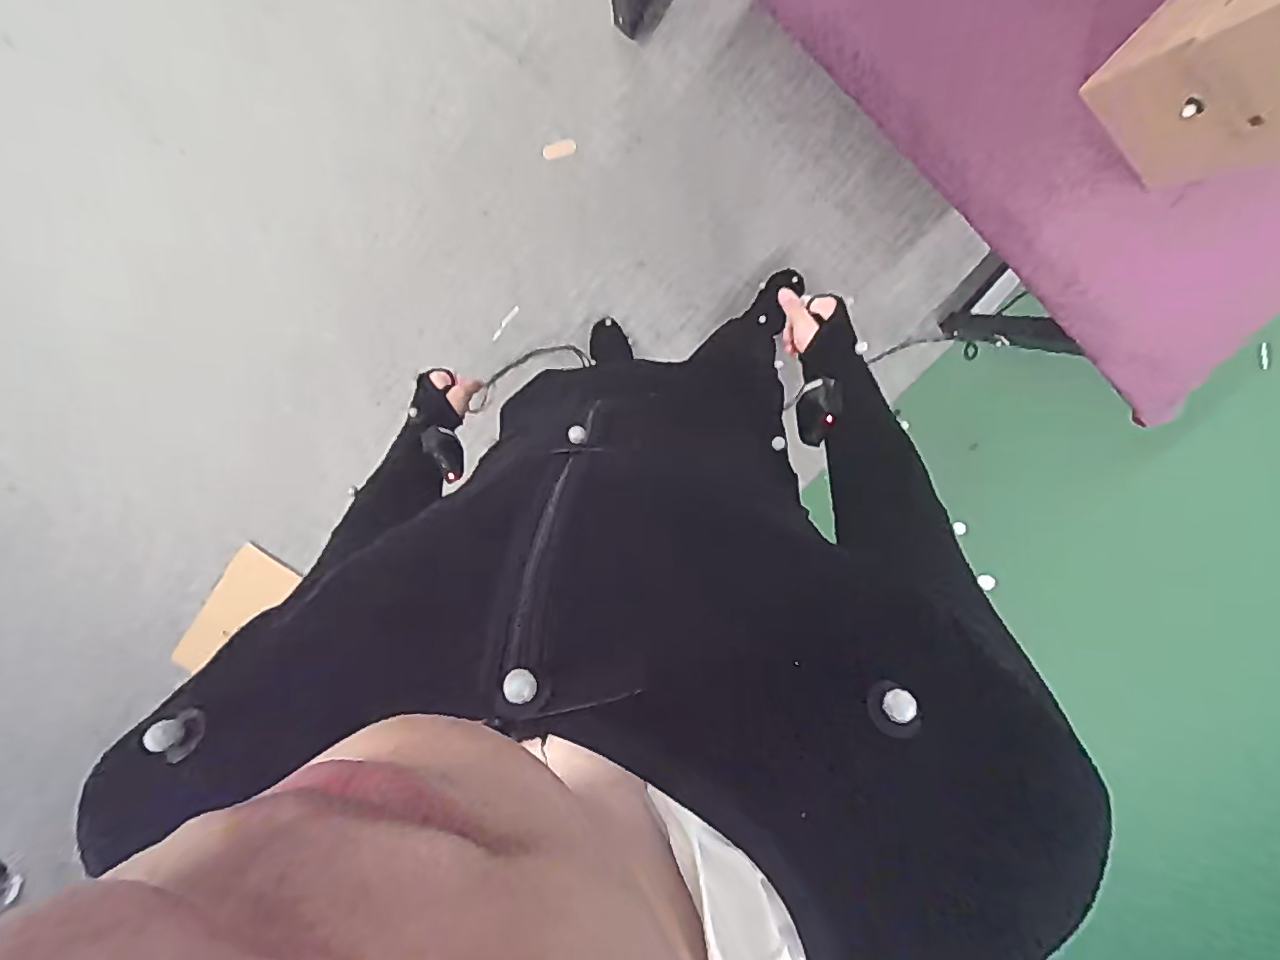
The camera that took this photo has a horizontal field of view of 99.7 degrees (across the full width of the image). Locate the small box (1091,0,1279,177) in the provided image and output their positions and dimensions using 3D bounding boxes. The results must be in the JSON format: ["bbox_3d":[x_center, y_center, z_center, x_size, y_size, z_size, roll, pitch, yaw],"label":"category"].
[{"bbox_3d":[0.692,-0.487,0.625,0.179,0.176,0.168,40,106,-12],"label":"small box"}]
